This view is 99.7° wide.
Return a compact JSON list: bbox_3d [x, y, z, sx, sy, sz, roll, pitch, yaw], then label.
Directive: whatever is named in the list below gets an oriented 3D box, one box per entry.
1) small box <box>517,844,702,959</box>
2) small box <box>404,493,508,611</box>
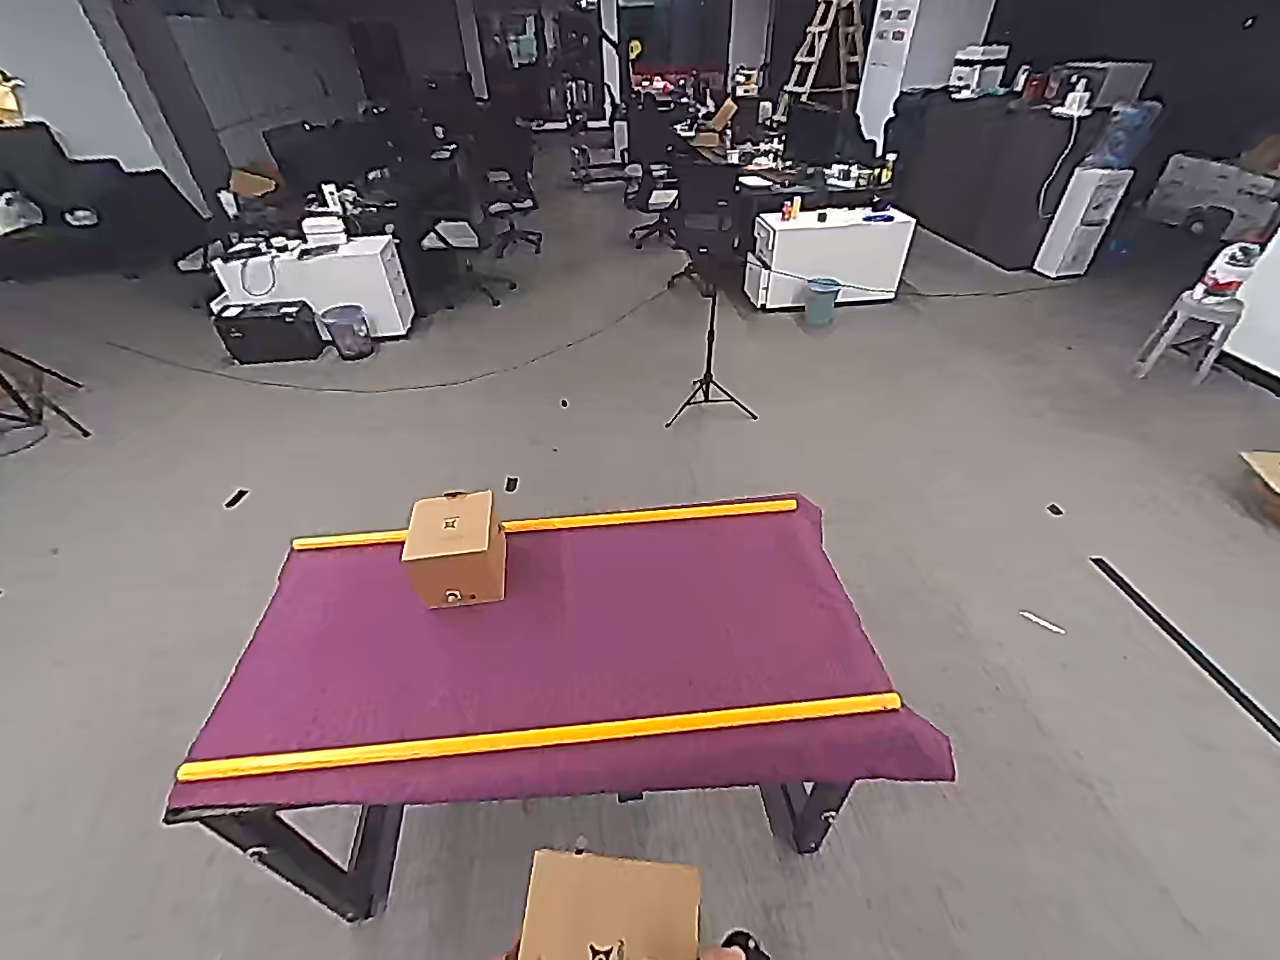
[{"bbox_3d":[-0.033,0.499,0.578,0.179,0.176,0.168,6,56,0],"label":"small box"},{"bbox_3d":[-0.380,0.153,1.152,0.168,0.176,0.179,-7,41,-5],"label":"small box"}]
